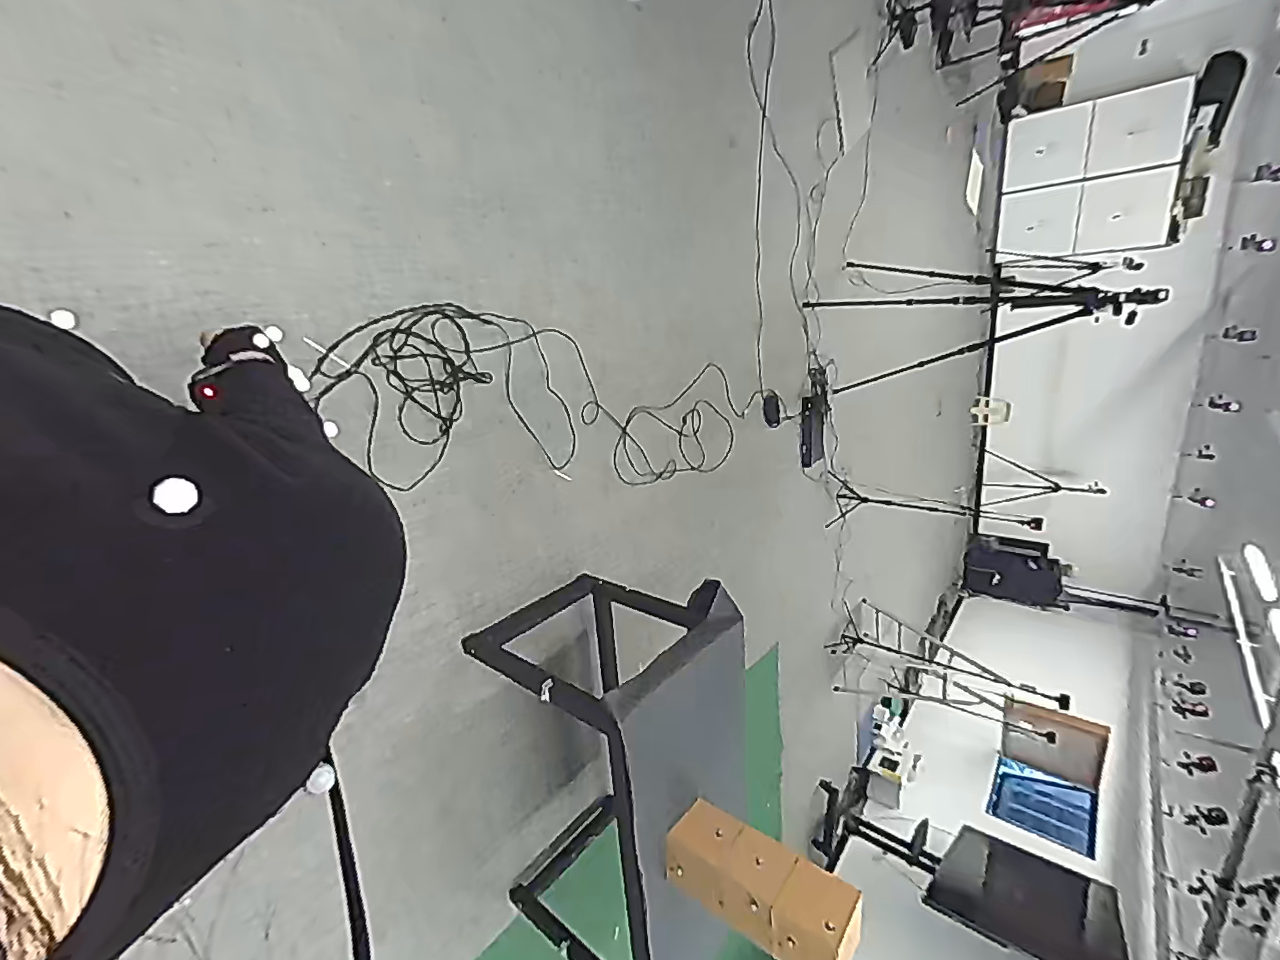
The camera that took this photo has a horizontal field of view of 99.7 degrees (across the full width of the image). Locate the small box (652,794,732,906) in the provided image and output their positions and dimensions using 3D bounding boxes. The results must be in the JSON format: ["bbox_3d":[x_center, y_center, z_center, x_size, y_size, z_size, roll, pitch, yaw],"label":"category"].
[{"bbox_3d":[0.153,1.071,1.585,0.179,0.176,0.168,-16,109,-49],"label":"small box"}]

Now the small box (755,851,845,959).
[{"bbox_3d":[0.409,1.110,1.386,0.179,0.176,0.168,-22,115,-48],"label":"small box"}]
